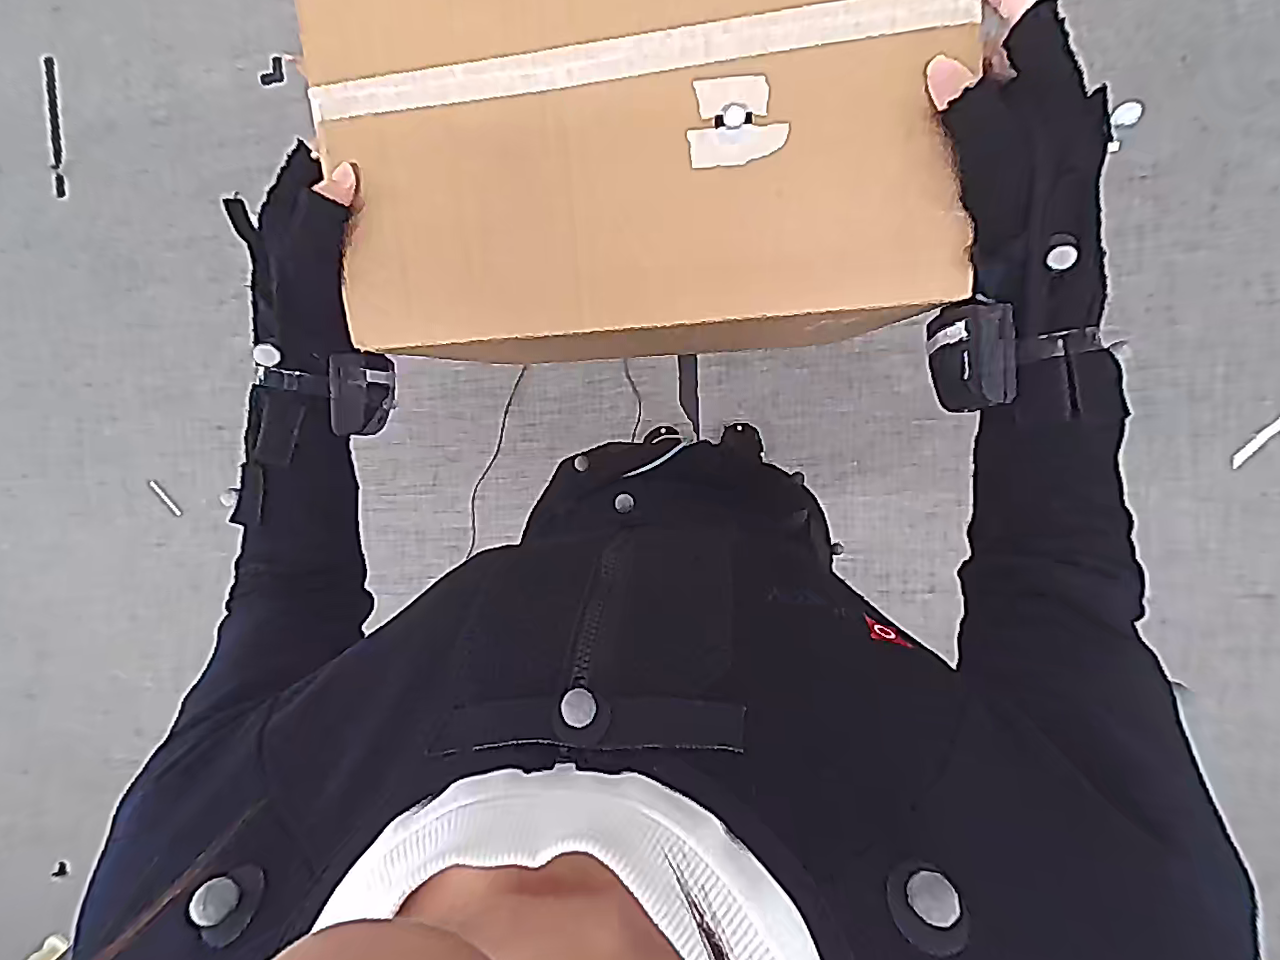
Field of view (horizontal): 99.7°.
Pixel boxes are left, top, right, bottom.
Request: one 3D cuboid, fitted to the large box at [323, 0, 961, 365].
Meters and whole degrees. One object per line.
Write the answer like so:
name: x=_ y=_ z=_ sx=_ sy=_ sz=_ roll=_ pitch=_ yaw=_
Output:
large box: x=0.008 y=-0.284 z=0.488 sx=0.408 sy=0.320 sz=0.320 roll=-3 pitch=100 yaw=7
